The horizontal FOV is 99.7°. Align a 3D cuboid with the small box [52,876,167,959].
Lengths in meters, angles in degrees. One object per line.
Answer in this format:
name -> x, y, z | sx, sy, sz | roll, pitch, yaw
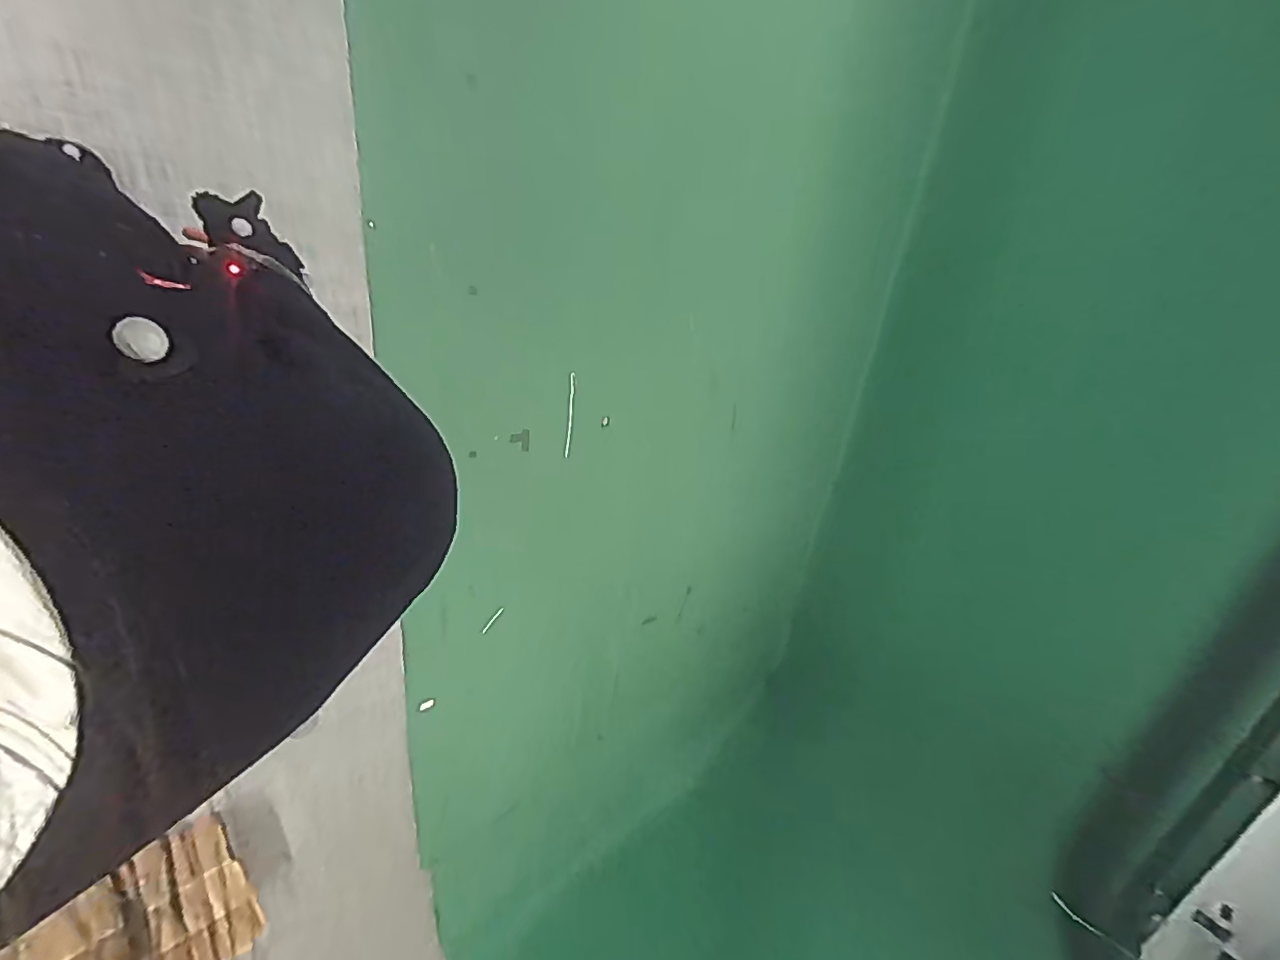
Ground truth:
small box -> -1.349, 1.175, 1.375 | 0.179, 0.176, 0.168 | -21, 128, -42
